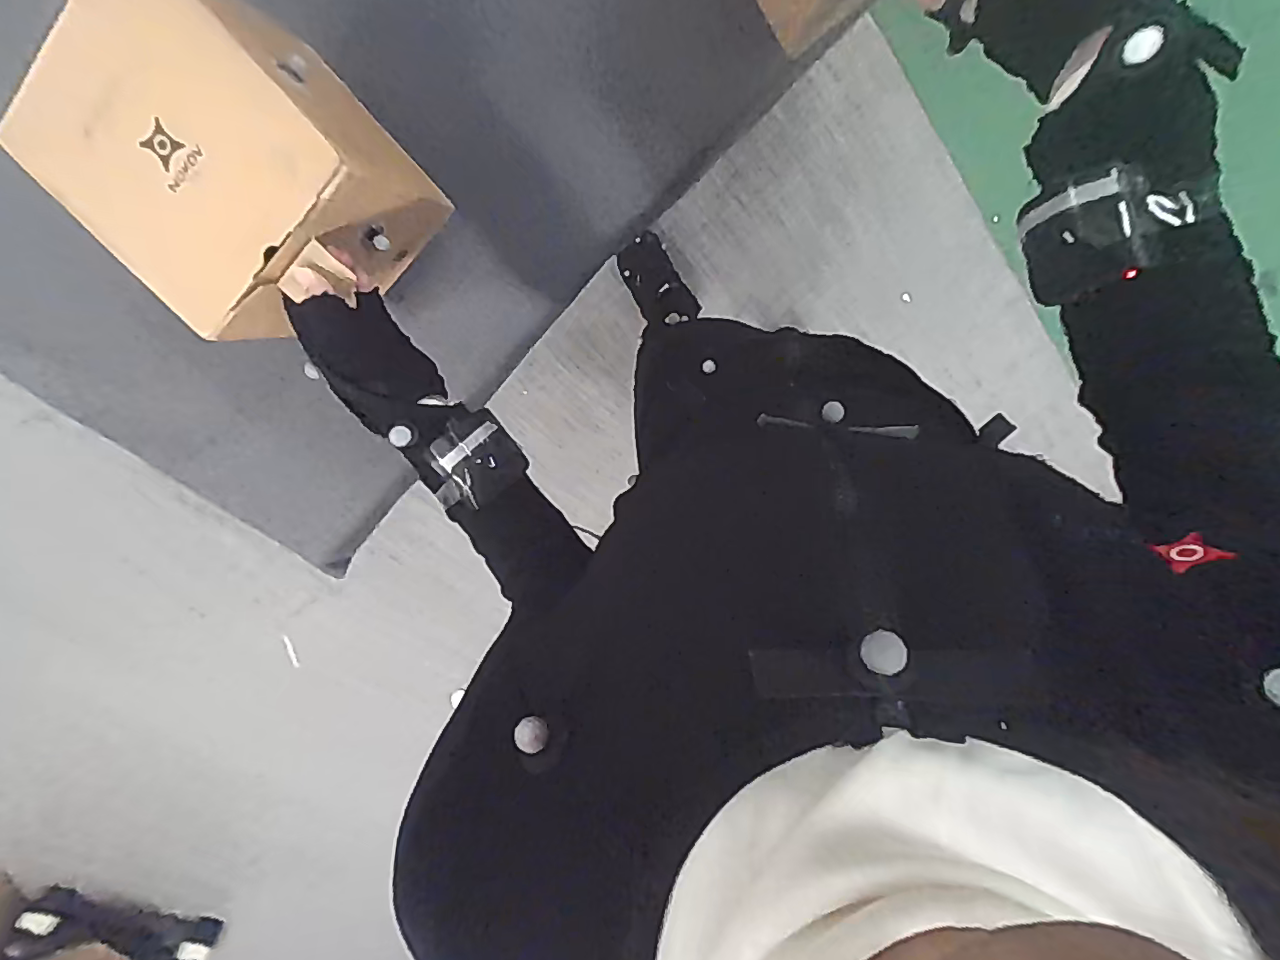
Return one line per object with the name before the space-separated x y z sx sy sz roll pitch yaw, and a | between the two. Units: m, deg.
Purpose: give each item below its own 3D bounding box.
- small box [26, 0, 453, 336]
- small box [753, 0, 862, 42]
small box | -0.285 -0.239 0.429 0.168 0.176 0.179 -40 99 15
small box | 0.135 -0.431 0.345 0.168 0.176 0.179 -33 106 18
